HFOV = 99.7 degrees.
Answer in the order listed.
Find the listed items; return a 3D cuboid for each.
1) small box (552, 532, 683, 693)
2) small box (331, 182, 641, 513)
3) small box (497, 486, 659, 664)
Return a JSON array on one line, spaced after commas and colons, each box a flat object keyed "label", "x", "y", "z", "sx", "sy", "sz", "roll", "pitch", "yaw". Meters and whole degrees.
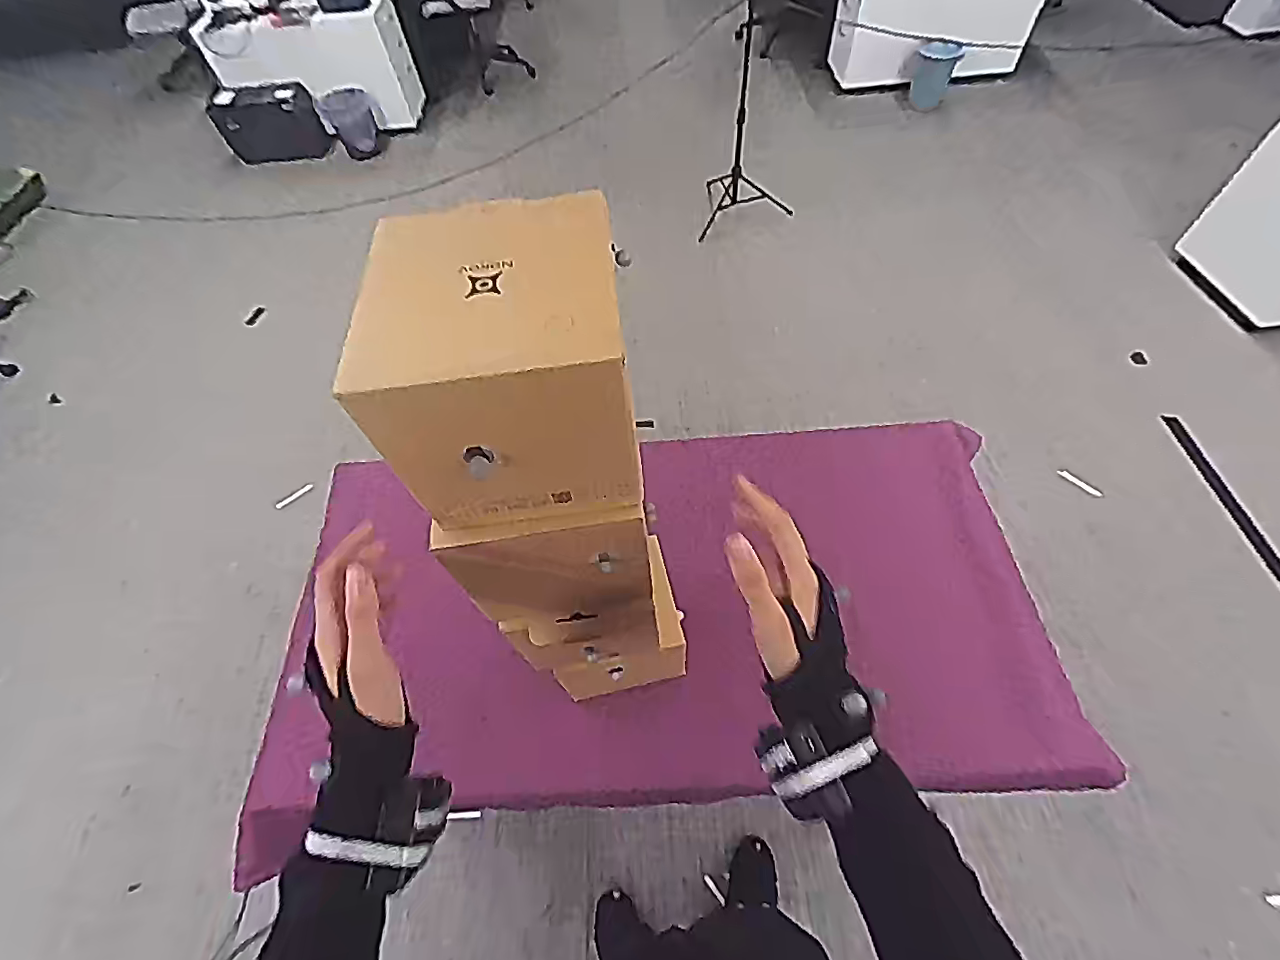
[{"label": "small box", "x": -0.038, "y": 0.202, "z": 0.802, "sx": 0.179, "sy": 0.176, "sz": 0.168, "roll": -12, "pitch": 58, "yaw": -4}, {"label": "small box", "x": -0.092, "y": -0.087, "z": 0.408, "sx": 0.168, "sy": 0.176, "sz": 0.179, "roll": -7, "pitch": 56, "yaw": 0}, {"label": "small box", "x": -0.070, "y": 0.110, "z": 0.668, "sx": 0.168, "sy": 0.176, "sz": 0.179, "roll": -8, "pitch": 57, "yaw": 0}]
